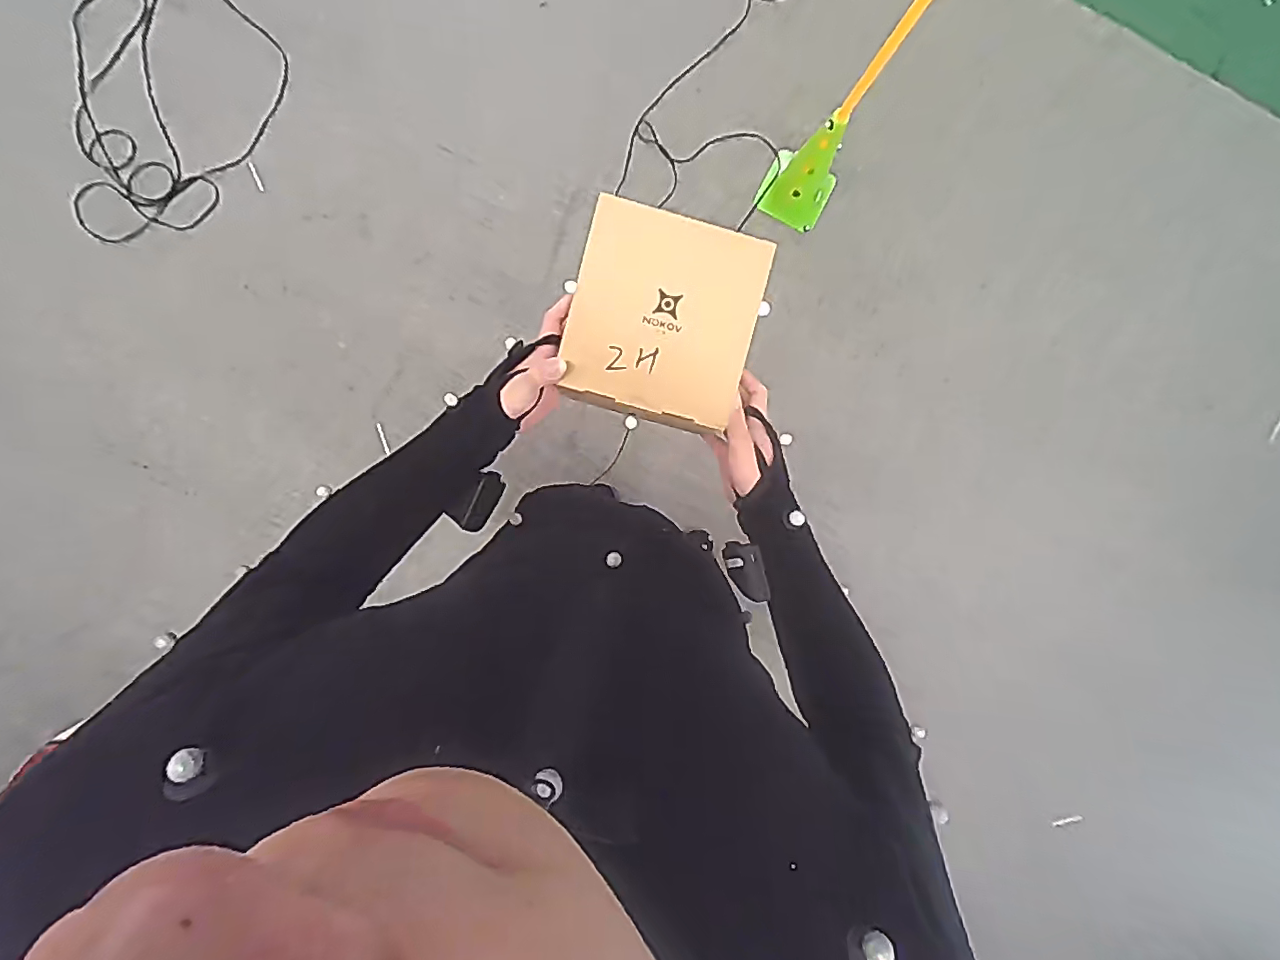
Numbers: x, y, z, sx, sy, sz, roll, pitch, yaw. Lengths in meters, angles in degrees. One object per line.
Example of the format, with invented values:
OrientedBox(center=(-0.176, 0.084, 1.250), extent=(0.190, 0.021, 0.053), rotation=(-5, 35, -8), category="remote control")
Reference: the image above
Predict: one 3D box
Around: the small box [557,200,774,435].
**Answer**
OrientedBox(center=(0.019, -0.153, 0.575), extent=(0.168, 0.176, 0.179), rotation=(16, 93, -3), category="small box")

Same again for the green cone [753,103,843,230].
OrientedBox(center=(0.473, -0.890, 1.481), extent=(0.202, 0.368, 0.200), rotation=(27, 89, -1), category="green cone")
